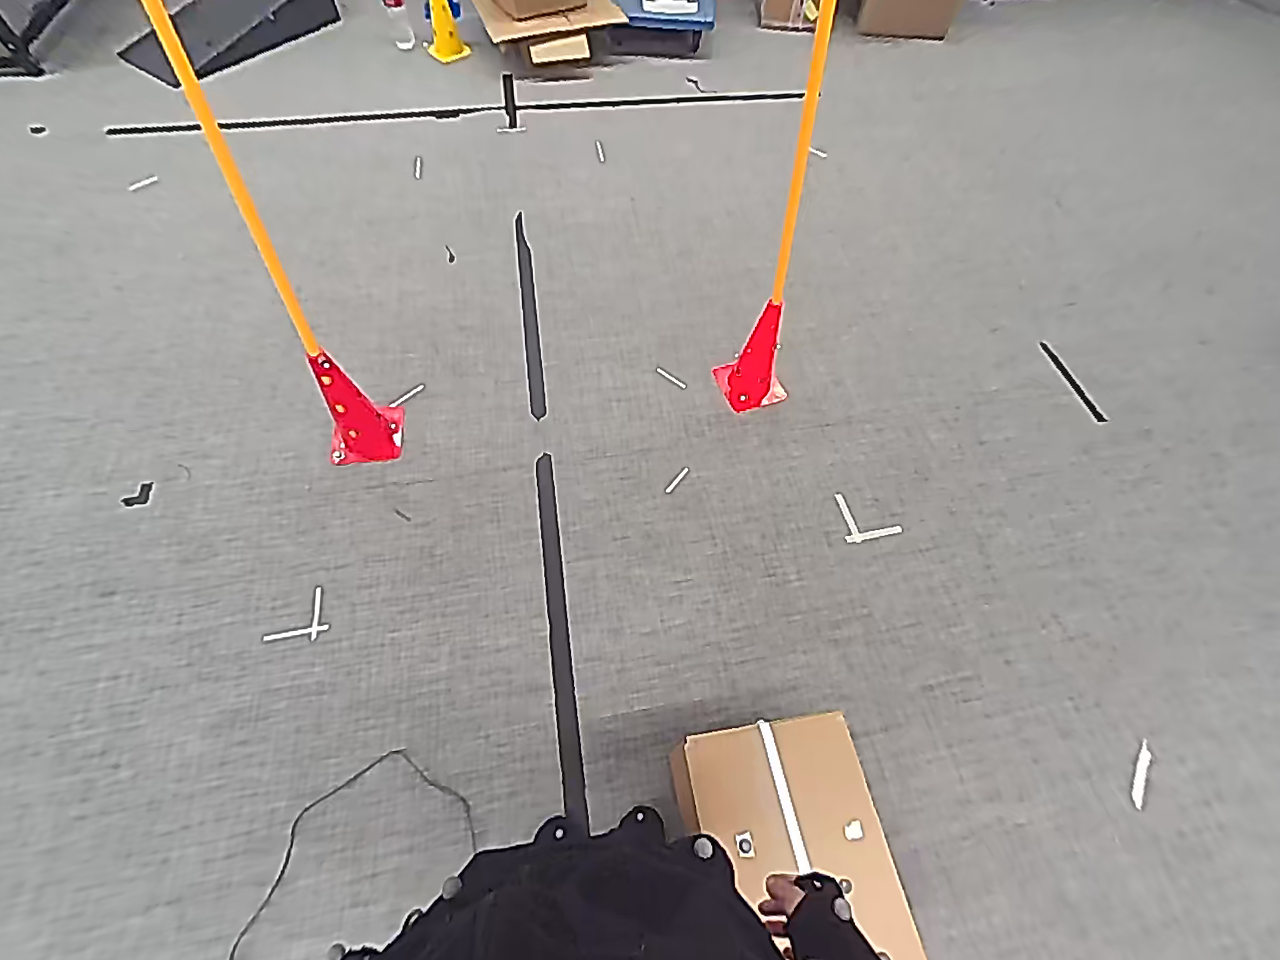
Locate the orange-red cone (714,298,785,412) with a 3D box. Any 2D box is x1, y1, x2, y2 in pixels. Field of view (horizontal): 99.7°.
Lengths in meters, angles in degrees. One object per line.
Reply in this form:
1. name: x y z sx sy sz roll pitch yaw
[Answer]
1. orange-red cone: 0.372 -0.404 1.646 0.199 0.360 0.198 -15 62 -12
